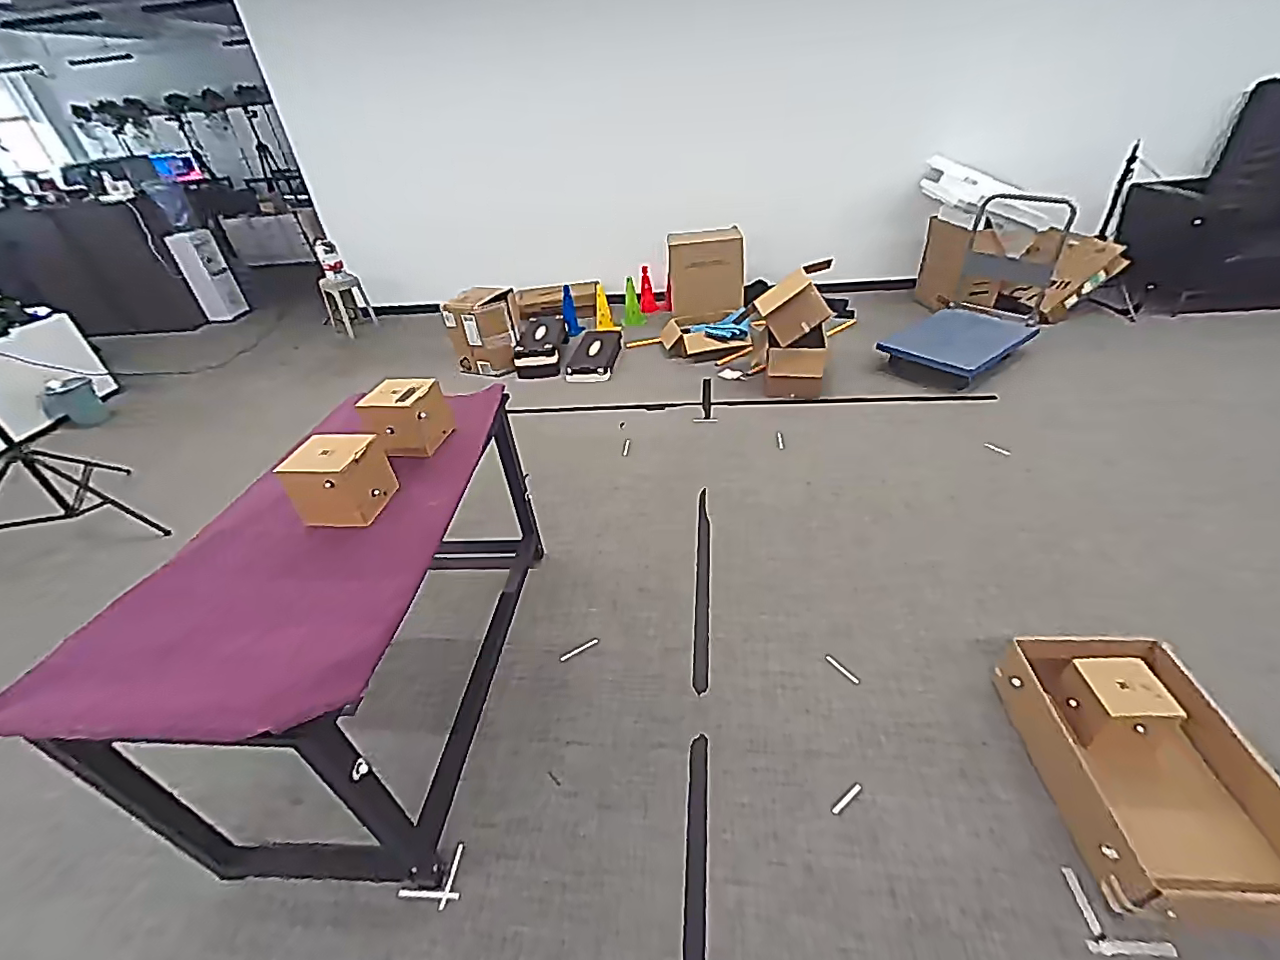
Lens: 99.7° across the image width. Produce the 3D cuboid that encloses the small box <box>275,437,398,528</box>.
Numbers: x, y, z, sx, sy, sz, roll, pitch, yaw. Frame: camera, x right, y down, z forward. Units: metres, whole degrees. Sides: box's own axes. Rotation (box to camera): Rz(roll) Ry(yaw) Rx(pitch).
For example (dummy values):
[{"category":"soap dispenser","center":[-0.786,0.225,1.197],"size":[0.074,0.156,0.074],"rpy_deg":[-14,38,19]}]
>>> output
[{"category":"small box","center":[-0.740,0.006,1.340],"size":[0.179,0.176,0.168],"rpy_deg":[0,36,8]}]

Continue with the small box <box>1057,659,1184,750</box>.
[{"category":"small box","center":[1.247,0.592,1.426],"size":[0.179,0.176,0.168],"rpy_deg":[-2,37,5]}]
